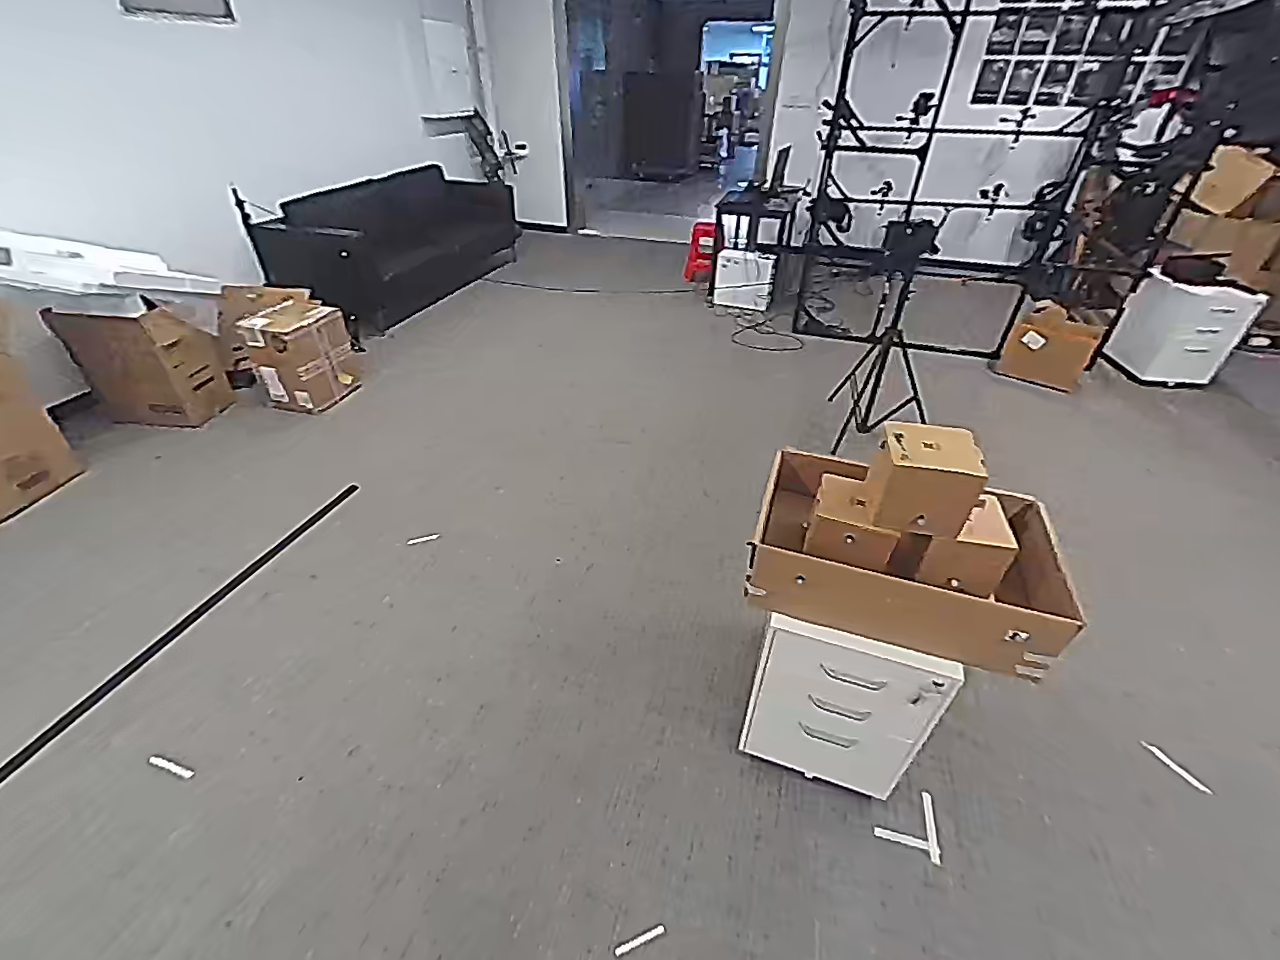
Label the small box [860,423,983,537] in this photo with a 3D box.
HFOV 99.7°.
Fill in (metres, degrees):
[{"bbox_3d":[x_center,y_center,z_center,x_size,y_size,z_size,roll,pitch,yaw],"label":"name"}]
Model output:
[{"bbox_3d":[0.589,0.001,1.156,0.179,0.176,0.168,9,39,10],"label":"small box"}]
